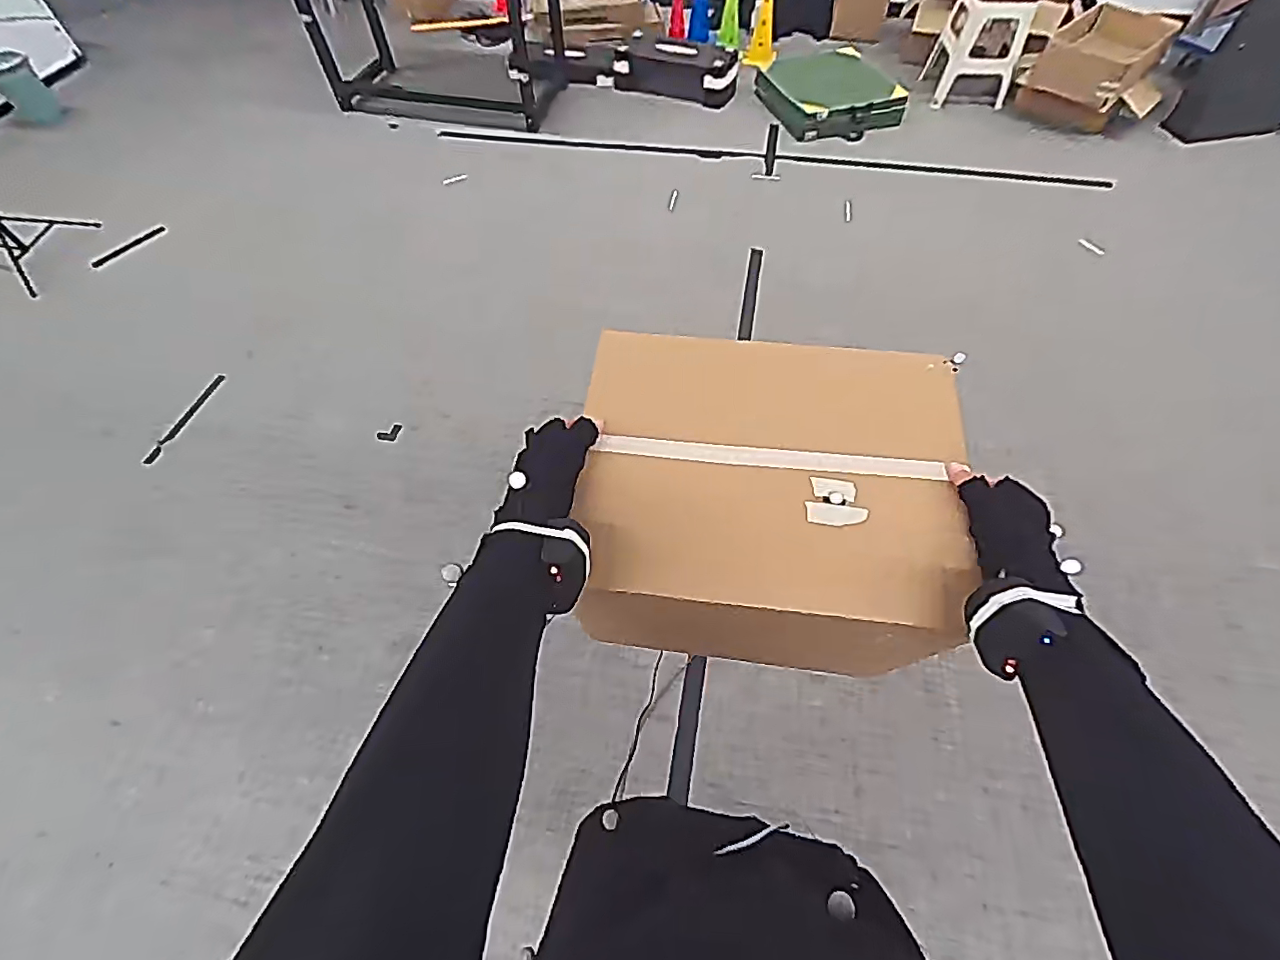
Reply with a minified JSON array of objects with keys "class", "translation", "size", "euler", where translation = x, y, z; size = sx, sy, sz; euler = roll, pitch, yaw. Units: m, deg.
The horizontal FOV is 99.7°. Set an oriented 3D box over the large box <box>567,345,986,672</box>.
[{"class":"large box","translation":[0.146,0.052,0.711],"size":[0.408,0.320,0.320],"euler":[6,65,6]}]
